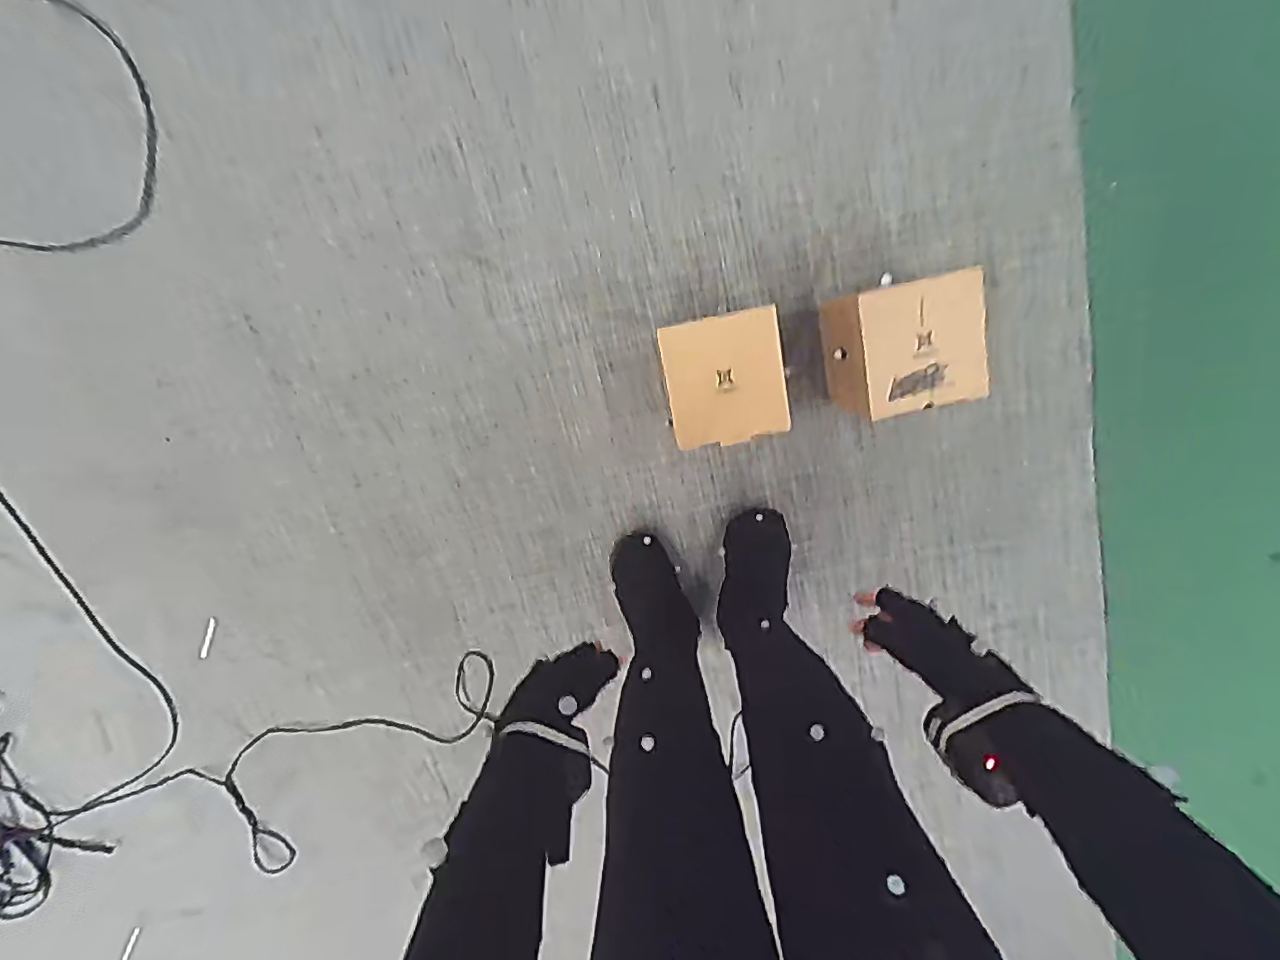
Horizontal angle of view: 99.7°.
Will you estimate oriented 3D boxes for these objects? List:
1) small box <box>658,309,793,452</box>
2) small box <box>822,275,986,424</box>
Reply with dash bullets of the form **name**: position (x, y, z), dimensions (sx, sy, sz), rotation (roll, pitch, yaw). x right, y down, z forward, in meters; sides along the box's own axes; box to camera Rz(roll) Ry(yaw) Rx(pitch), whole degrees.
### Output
- **small box**: position (0.123, -0.154, 0.833), dimensions (0.168, 0.176, 0.179), rotation (-11, 104, 3)
- **small box**: position (0.389, -0.195, 0.817), dimensions (0.168, 0.176, 0.179), rotation (-11, 103, 4)
